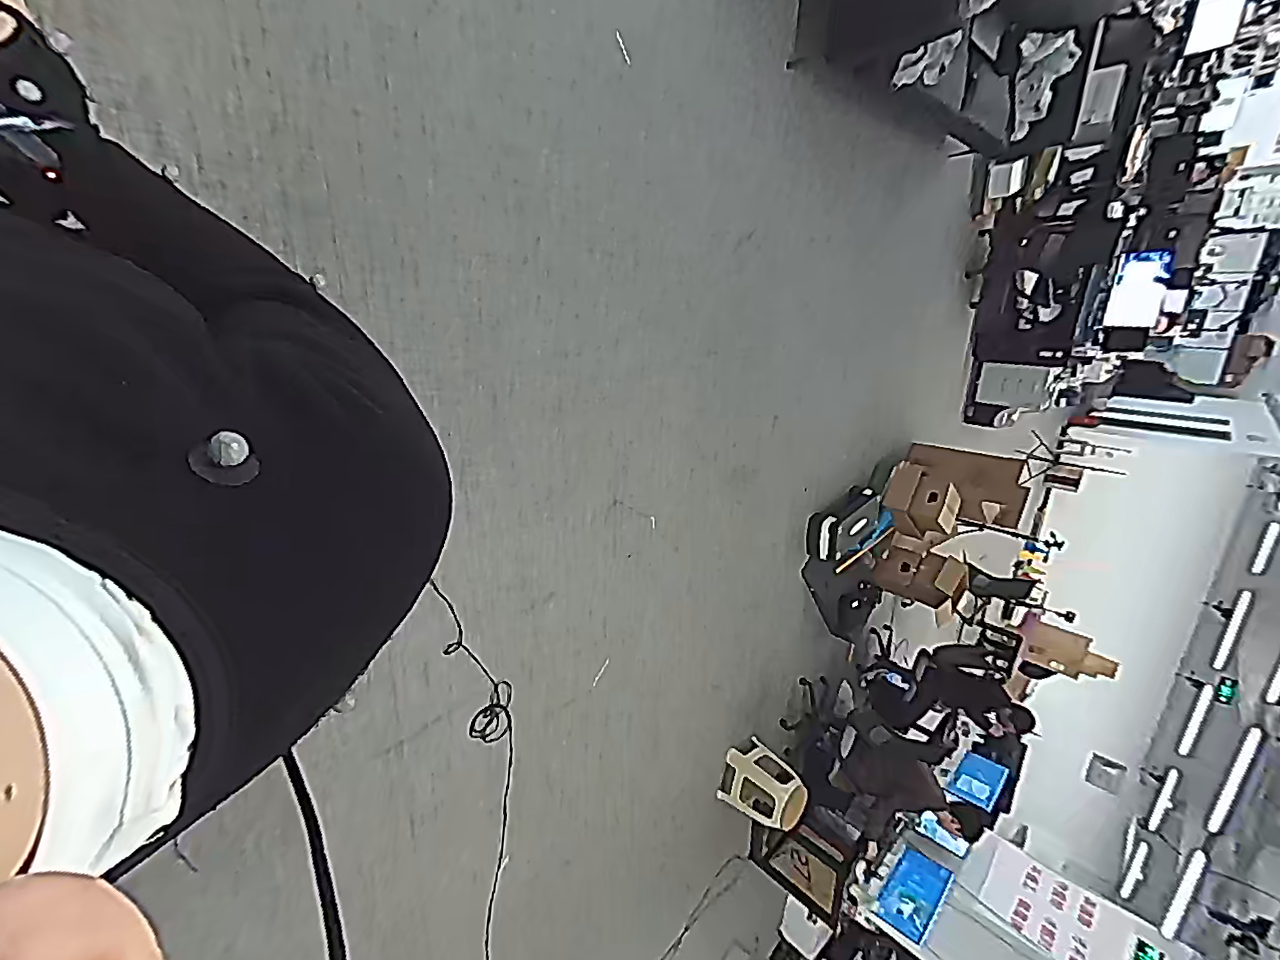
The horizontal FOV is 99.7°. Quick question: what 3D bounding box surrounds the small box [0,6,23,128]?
[{"bbox_3d":[-0.632,-0.404,0.423,0.179,0.176,0.168,-13,106,-42],"label":"small box"}]
